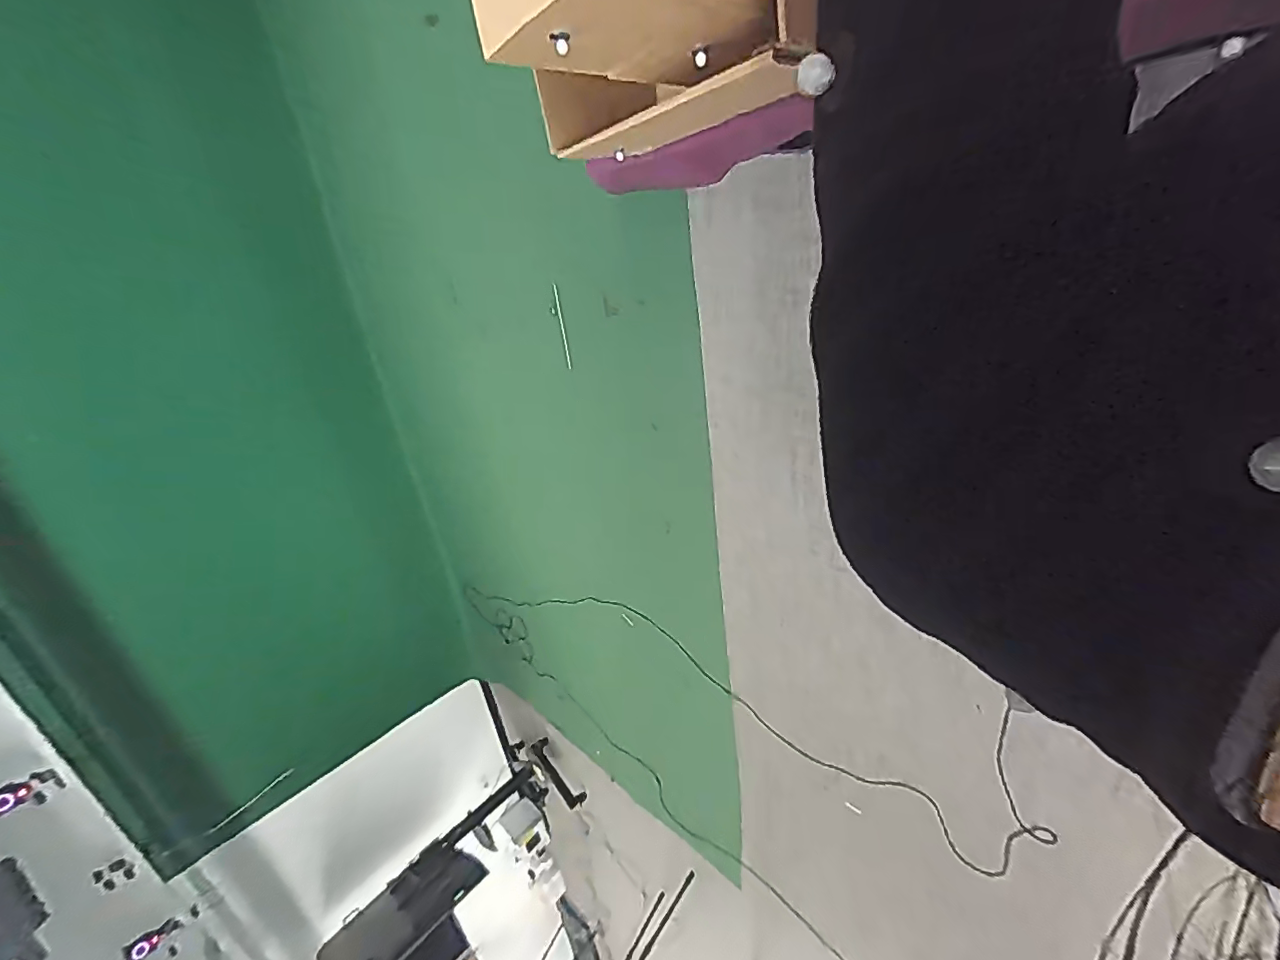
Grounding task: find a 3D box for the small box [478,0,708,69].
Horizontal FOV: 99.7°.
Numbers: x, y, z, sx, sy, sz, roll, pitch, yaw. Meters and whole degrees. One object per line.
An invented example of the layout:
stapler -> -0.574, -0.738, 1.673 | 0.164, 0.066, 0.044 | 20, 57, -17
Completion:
small box -> -0.052, -0.527, 0.522 | 0.179, 0.176, 0.168 | 13, 122, 45
